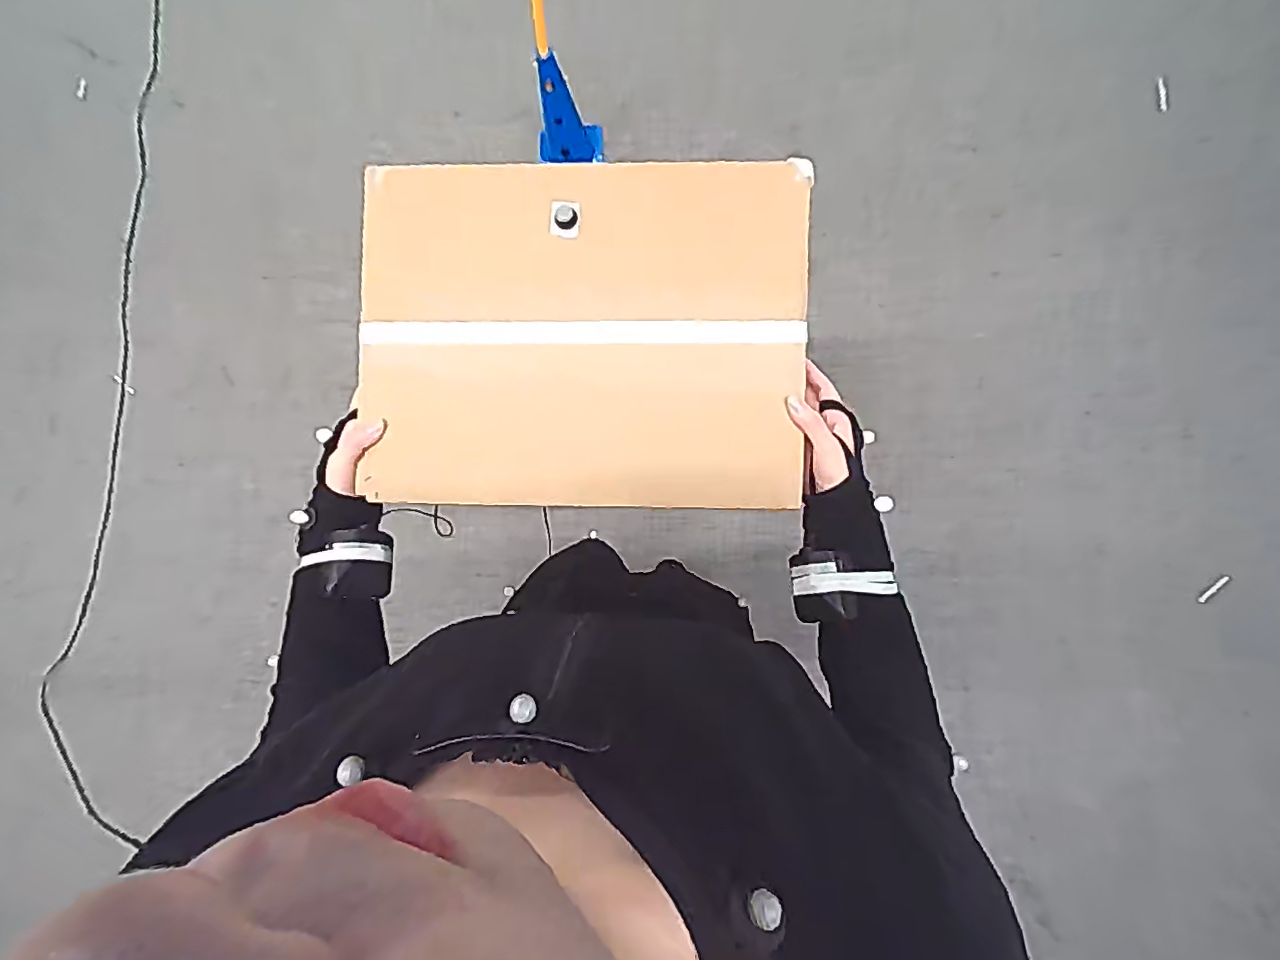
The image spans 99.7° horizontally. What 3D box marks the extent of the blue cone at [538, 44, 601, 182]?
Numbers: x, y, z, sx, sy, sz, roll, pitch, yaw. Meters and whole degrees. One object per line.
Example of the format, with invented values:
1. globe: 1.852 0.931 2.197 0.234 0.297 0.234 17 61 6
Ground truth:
1. blue cone: -0.224 -1.029 1.495 0.193 0.380 0.192 -3 83 2
